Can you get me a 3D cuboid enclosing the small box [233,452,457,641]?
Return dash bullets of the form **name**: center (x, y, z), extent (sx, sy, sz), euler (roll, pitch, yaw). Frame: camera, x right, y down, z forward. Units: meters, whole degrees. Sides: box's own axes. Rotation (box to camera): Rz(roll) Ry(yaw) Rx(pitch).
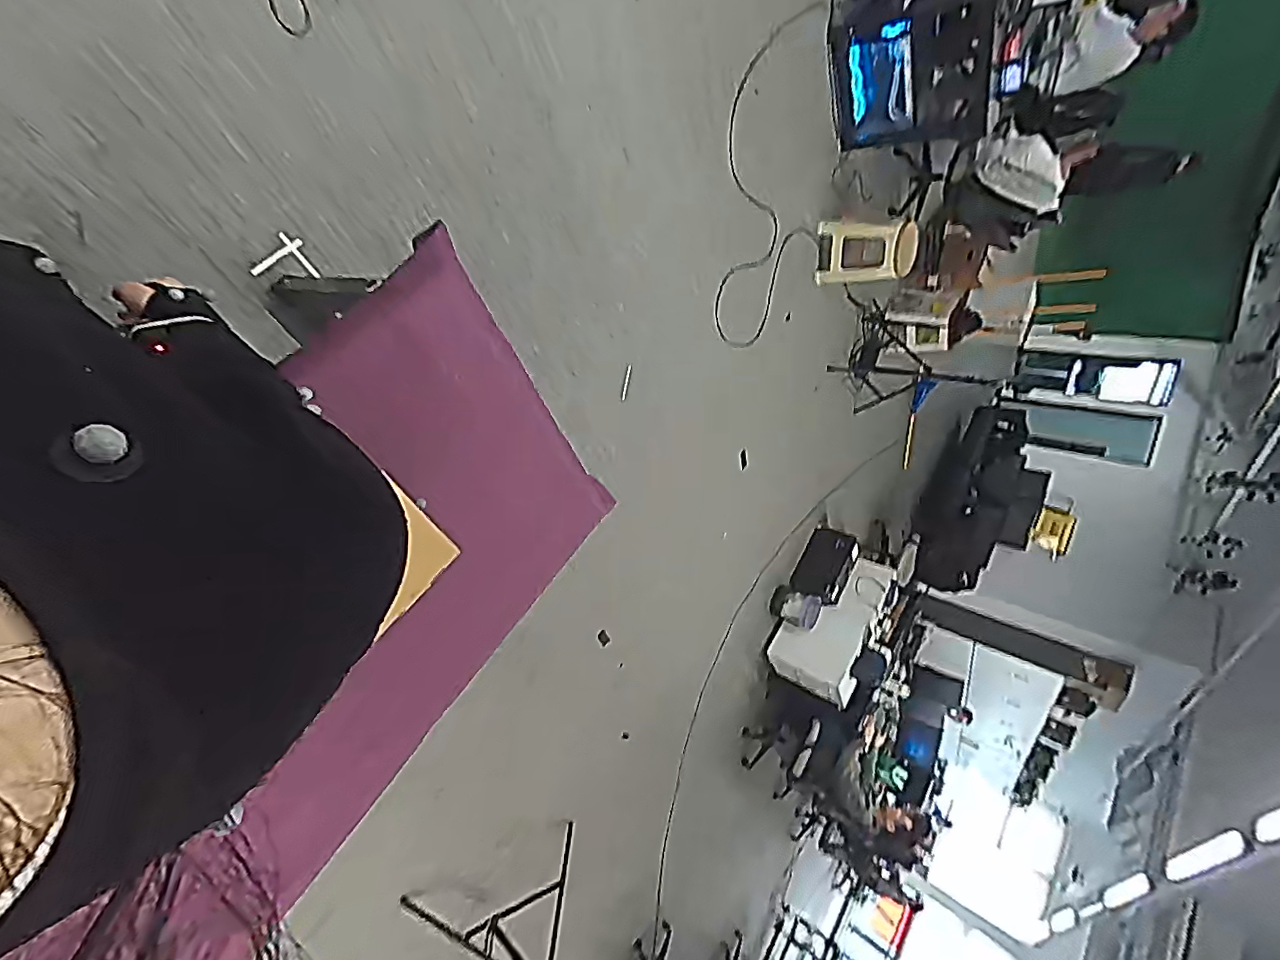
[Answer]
- **small box**: center (-0.395, 0.079, 0.730), extent (0.168, 0.176, 0.179), euler (-51, 139, -24)
